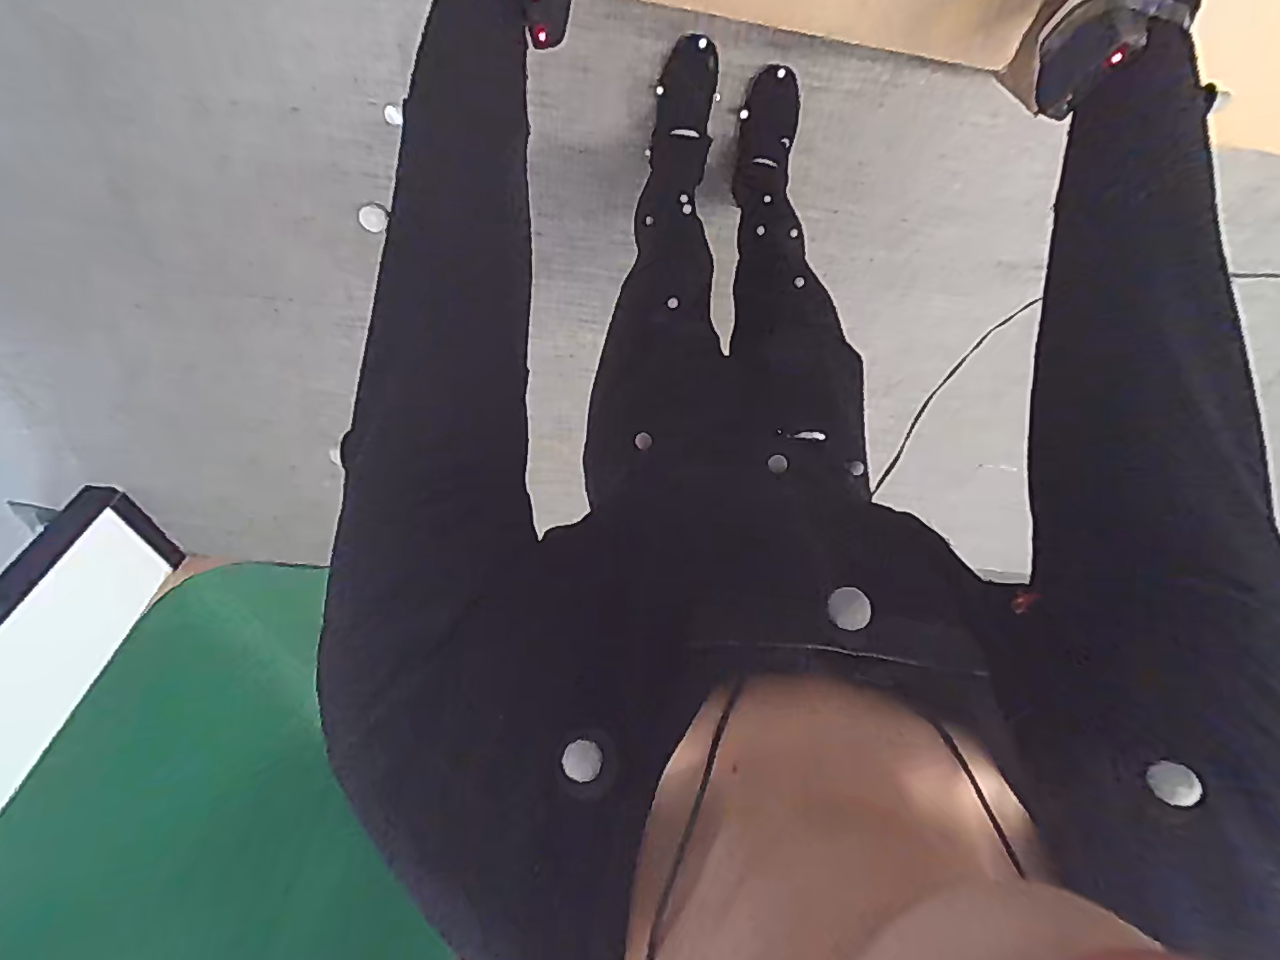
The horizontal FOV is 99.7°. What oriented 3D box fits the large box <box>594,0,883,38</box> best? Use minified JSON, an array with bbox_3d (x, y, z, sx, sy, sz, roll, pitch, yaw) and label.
[{"bbox_3d":[0.153,-0.852,0.740,0.408,0.320,0.320,7,136,-2],"label":"large box"}]
